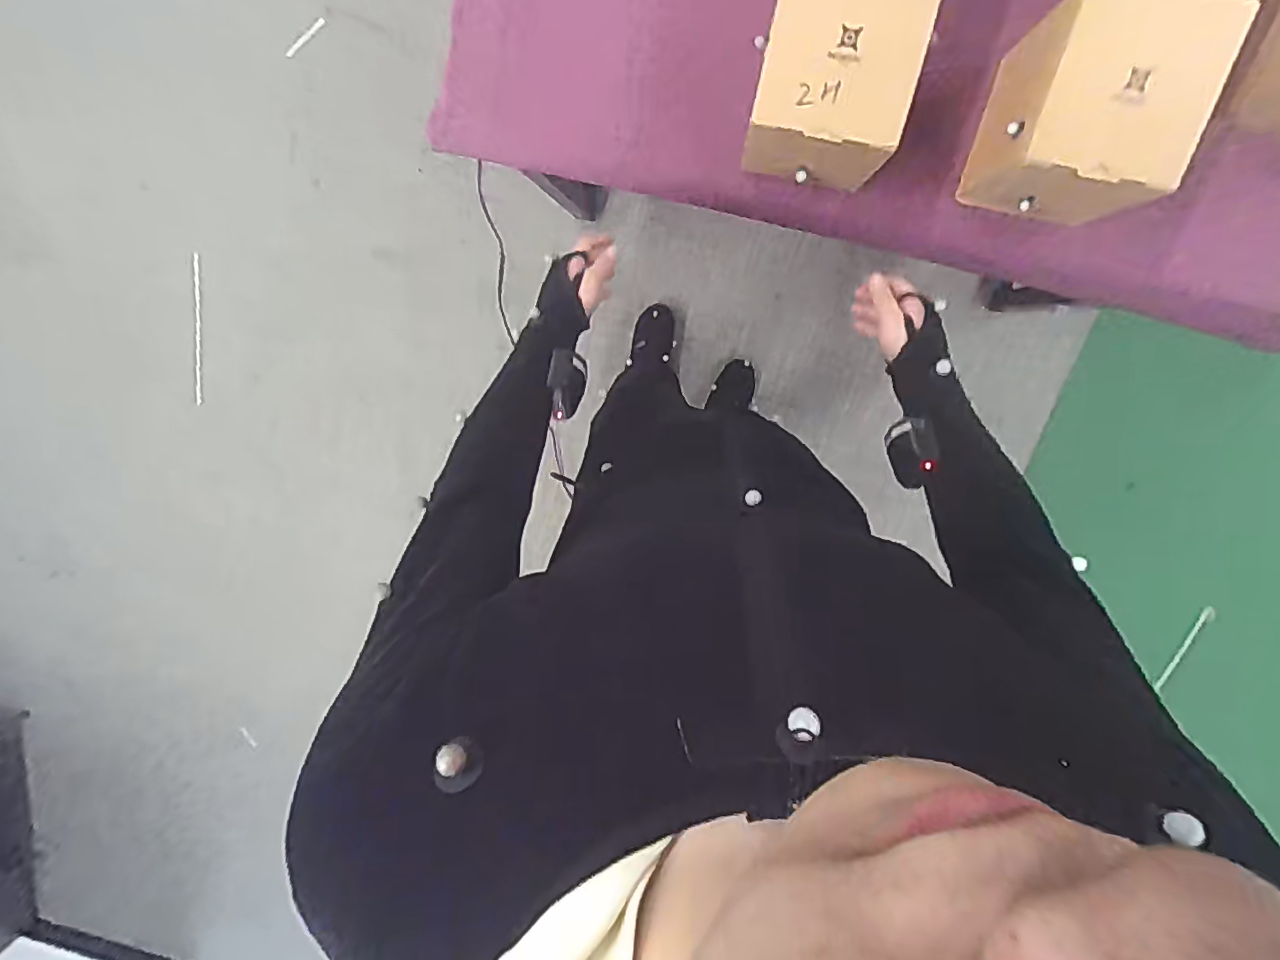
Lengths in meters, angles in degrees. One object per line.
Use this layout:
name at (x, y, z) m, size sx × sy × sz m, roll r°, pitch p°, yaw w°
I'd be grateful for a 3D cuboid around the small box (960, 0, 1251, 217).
small box at (0.517, -0.434, 0.637) m, size 0.168 × 0.176 × 0.179 m, roll 14°, pitch 106°, yaw 2°

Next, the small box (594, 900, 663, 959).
small box at (-0.036, 1.346, 1.525) m, size 0.168 × 0.176 × 0.179 m, roll 17°, pitch 107°, yaw 1°

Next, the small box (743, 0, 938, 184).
small box at (0.227, -0.487, 0.653) m, size 0.168 × 0.176 × 0.179 m, roll 13°, pitch 106°, yaw 3°
